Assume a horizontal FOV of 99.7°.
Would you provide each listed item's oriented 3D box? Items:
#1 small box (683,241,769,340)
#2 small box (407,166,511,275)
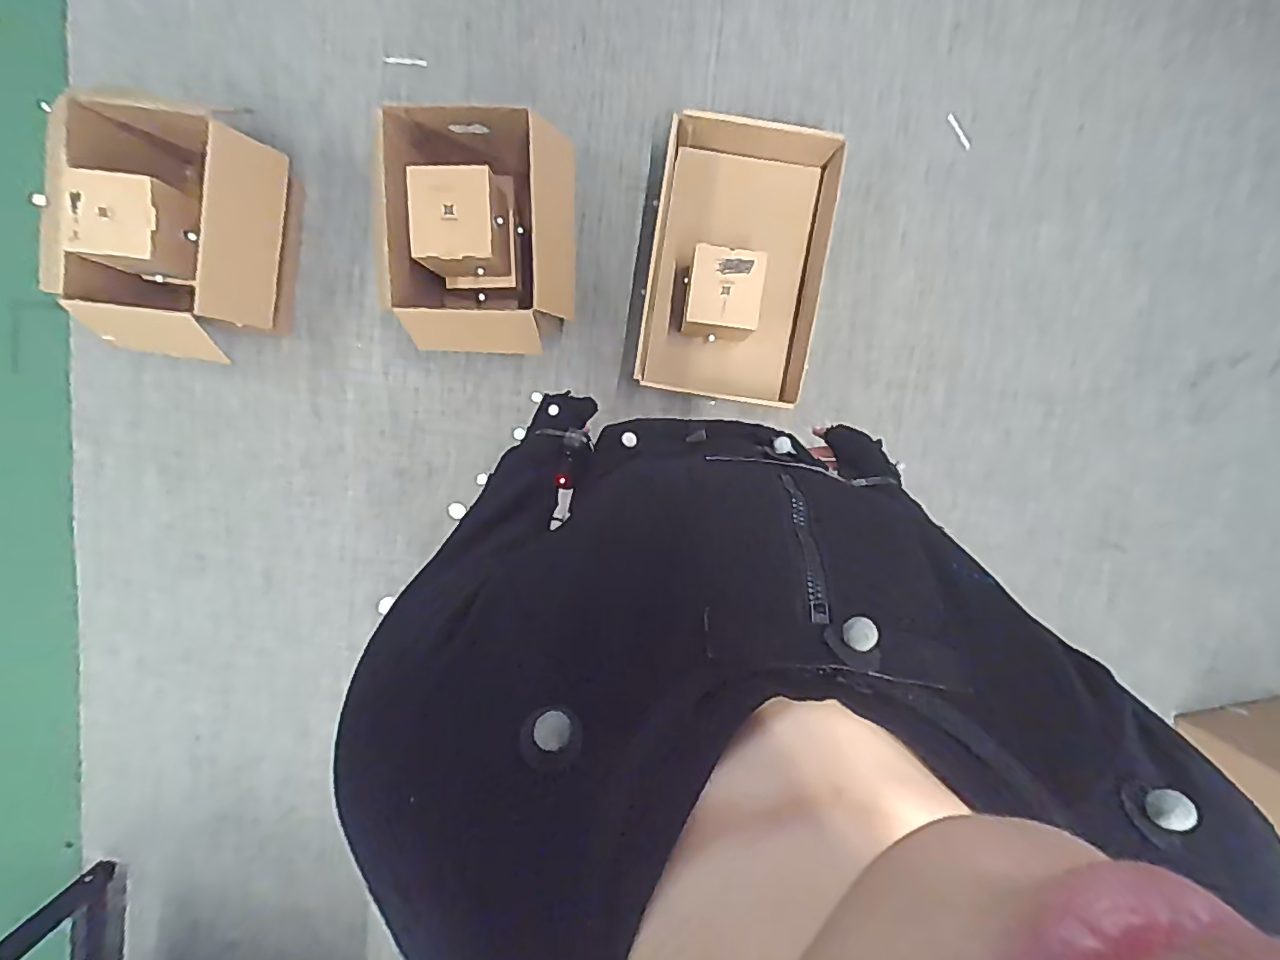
[{"bbox_3d":[0.196,-0.443,1.286,0.168,0.176,0.179,7,96,0],"label":"small box"},{"bbox_3d":[-0.377,-0.543,1.152,0.168,0.176,0.179,0,98,0],"label":"small box"}]
